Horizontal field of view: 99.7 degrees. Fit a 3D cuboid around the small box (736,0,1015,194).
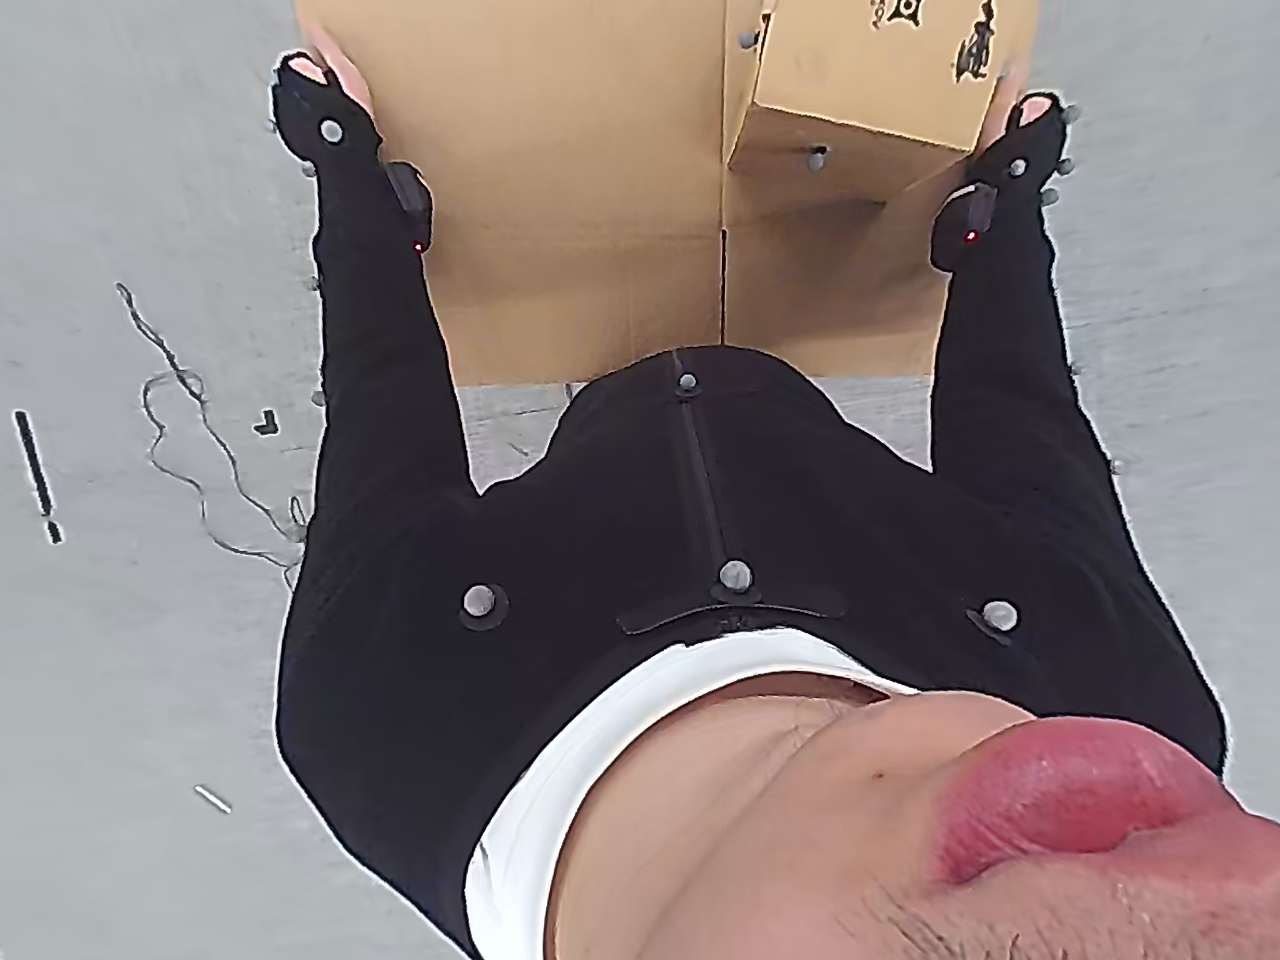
[{"bbox_3d":[0.189,-0.370,0.472,0.179,0.176,0.168,12,106,1],"label":"small box"}]
